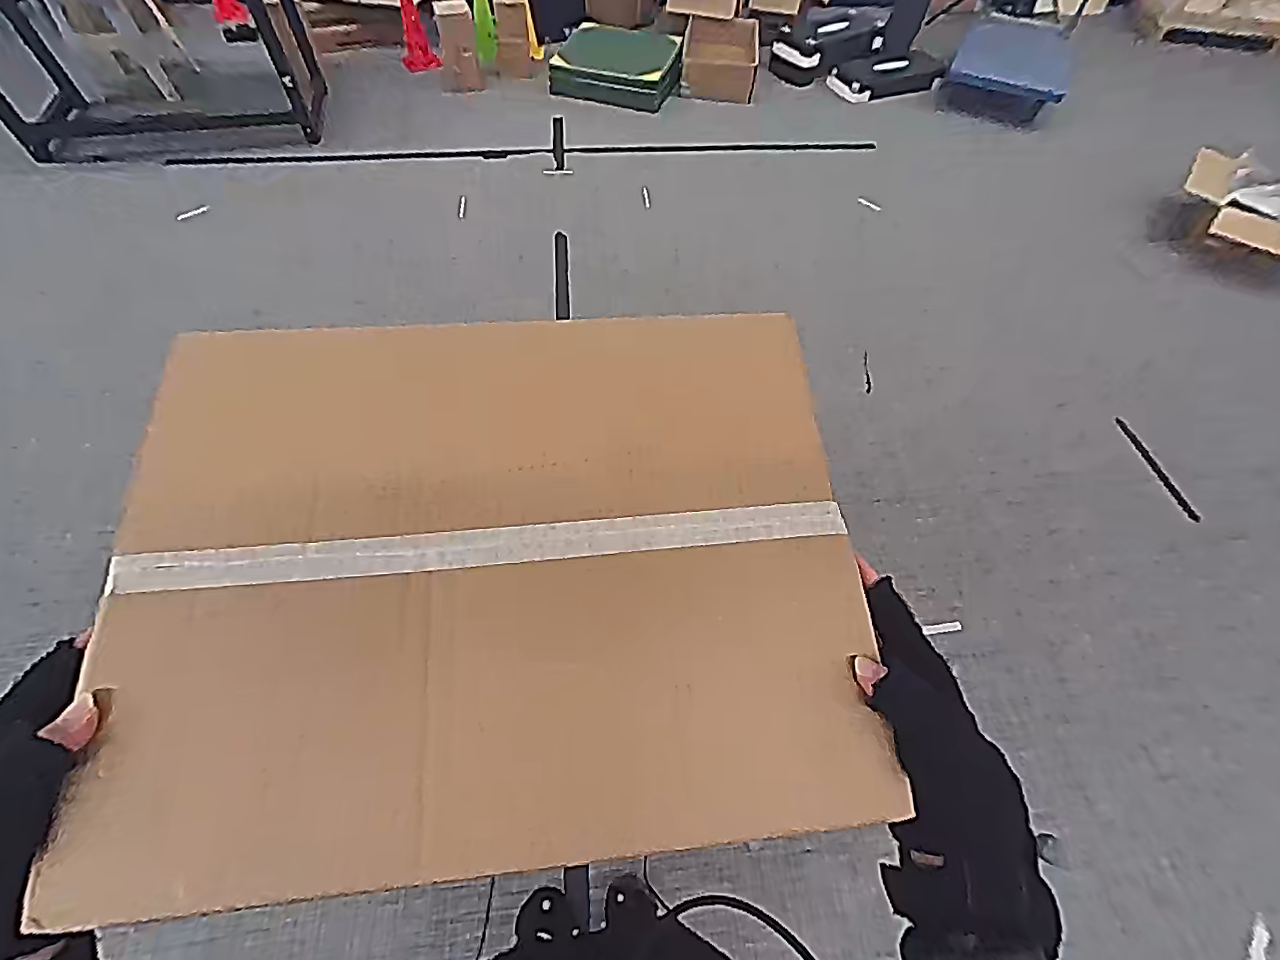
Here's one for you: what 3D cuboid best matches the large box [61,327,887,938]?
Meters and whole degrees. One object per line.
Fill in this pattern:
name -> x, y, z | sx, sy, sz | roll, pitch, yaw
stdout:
large box -> -0.089, 0.102, 0.452 | 0.408, 0.320, 0.320 | -4, 68, -5
